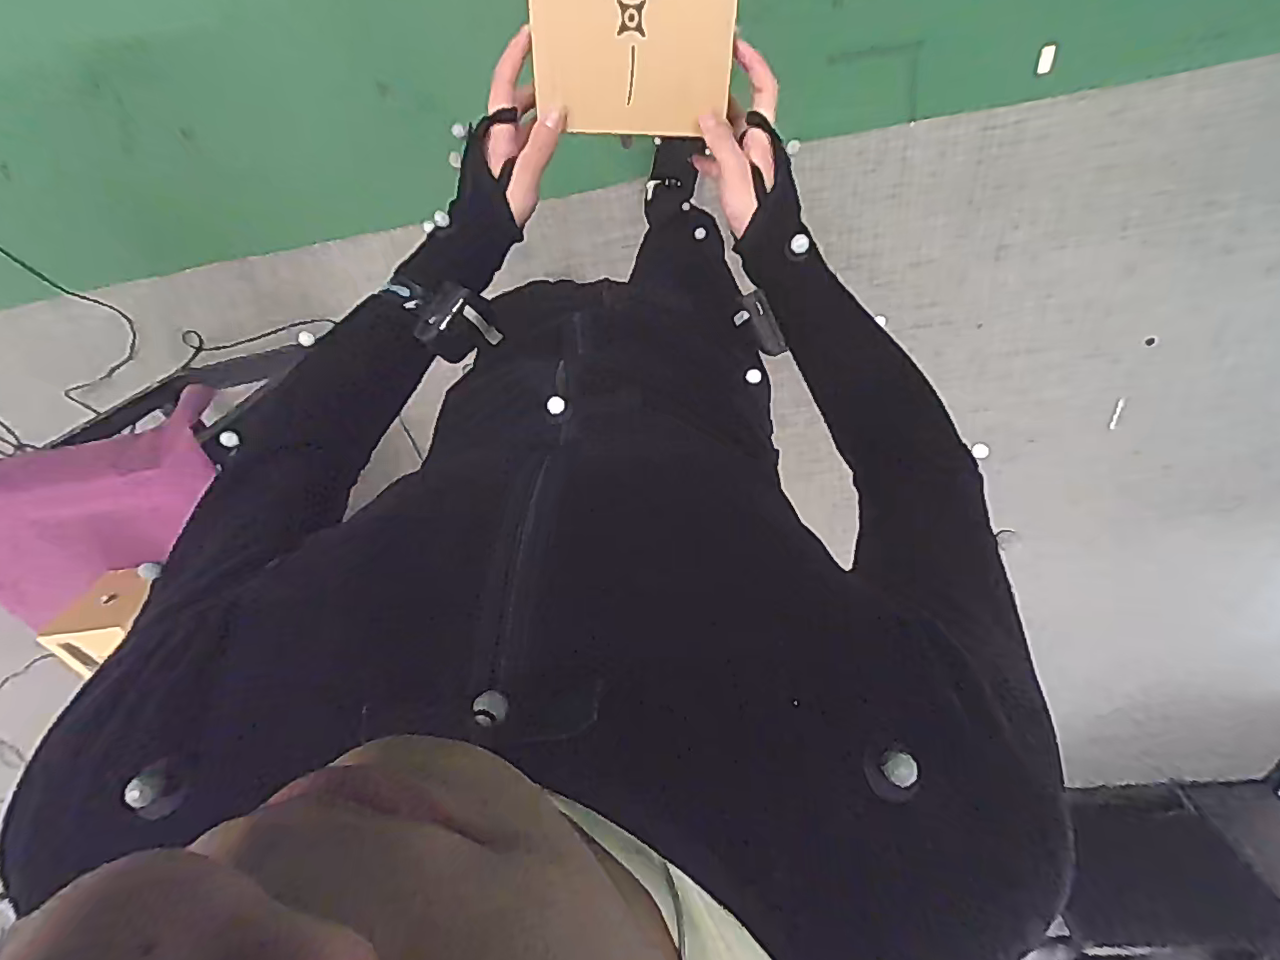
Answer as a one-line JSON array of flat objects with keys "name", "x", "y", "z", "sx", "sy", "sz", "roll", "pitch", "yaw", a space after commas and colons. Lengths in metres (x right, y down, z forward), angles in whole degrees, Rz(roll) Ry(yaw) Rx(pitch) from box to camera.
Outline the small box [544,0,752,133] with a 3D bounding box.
[{"name": "small box", "x": 0.005, "y": -0.420, "z": 0.483, "sx": 0.168, "sy": 0.176, "sz": 0.179, "roll": 1, "pitch": 125, "yaw": -1}]
